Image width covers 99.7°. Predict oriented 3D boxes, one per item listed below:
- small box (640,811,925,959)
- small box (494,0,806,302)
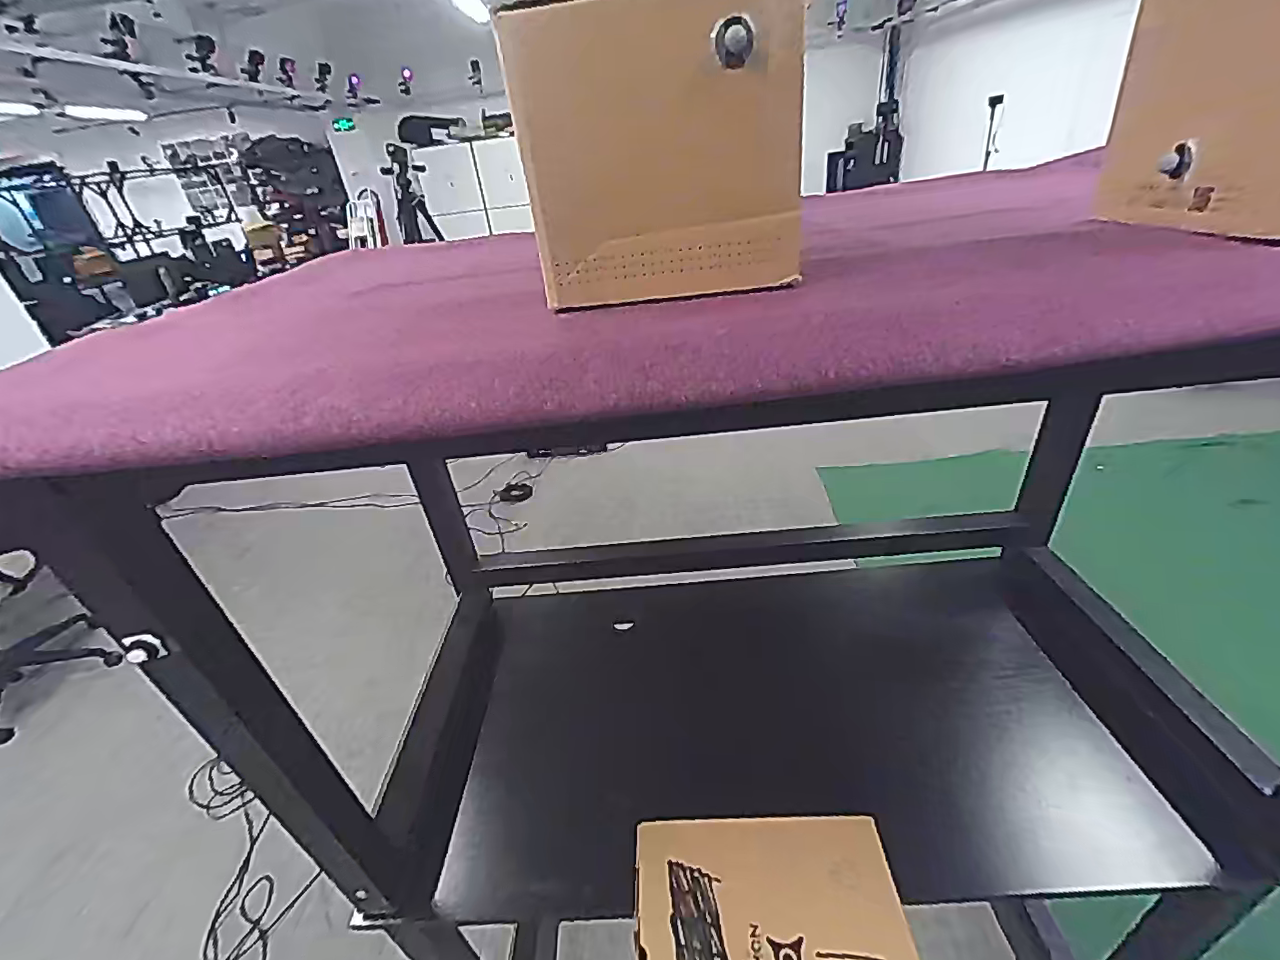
[{"bbox_3d":[0.094,0.361,0.377,0.179,0.176,0.168,-3,32,4],"label":"small box"},{"bbox_3d":[0.017,-0.235,0.394,0.179,0.176,0.168,-4,31,5],"label":"small box"}]
